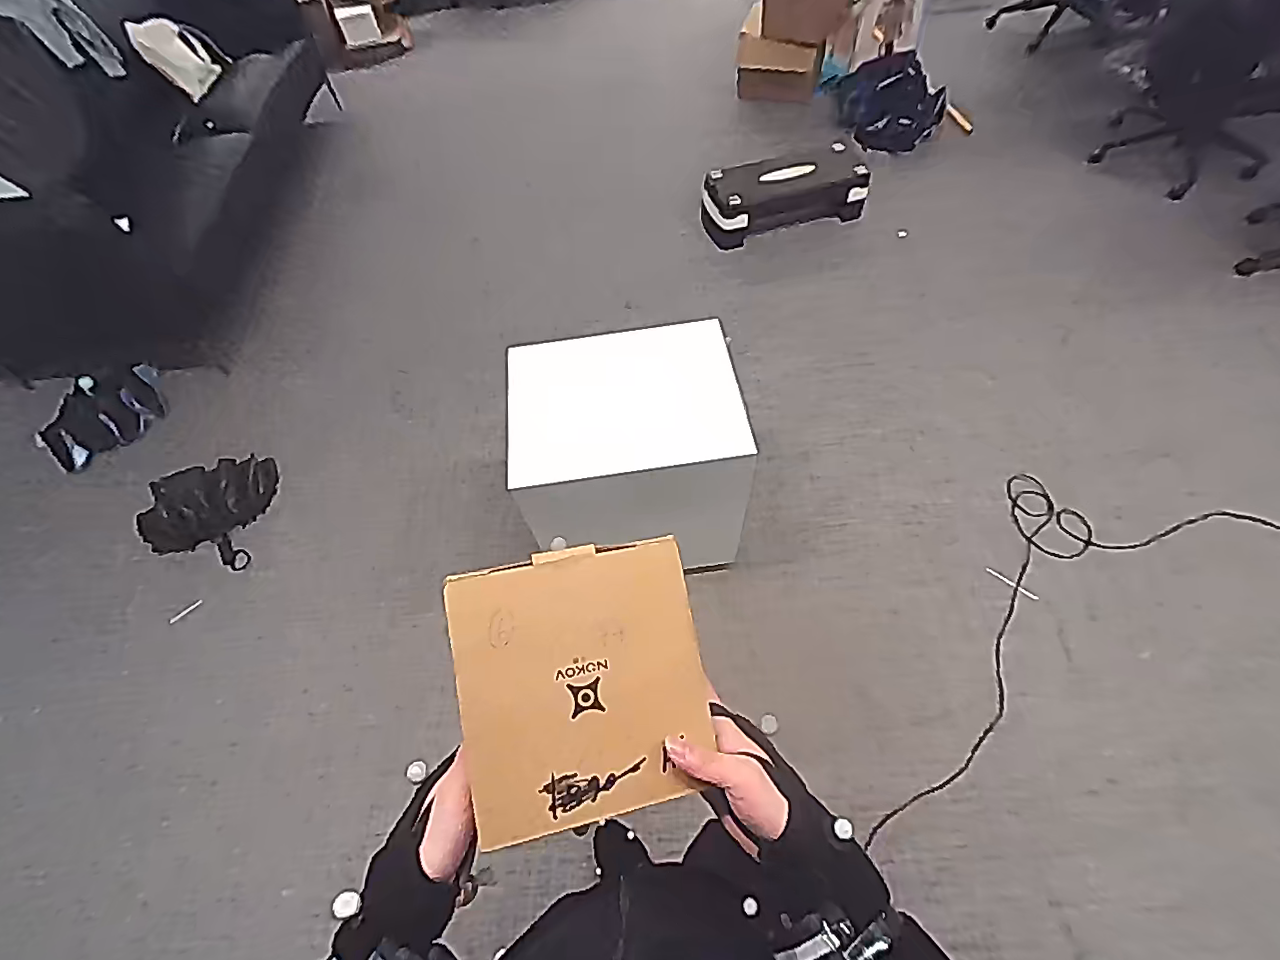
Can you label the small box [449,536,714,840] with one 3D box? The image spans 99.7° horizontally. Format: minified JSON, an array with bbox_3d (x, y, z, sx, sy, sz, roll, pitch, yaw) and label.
[{"bbox_3d":[-0.054,0.149,0.451,0.168,0.176,0.179,-9,83,-11],"label":"small box"}]
